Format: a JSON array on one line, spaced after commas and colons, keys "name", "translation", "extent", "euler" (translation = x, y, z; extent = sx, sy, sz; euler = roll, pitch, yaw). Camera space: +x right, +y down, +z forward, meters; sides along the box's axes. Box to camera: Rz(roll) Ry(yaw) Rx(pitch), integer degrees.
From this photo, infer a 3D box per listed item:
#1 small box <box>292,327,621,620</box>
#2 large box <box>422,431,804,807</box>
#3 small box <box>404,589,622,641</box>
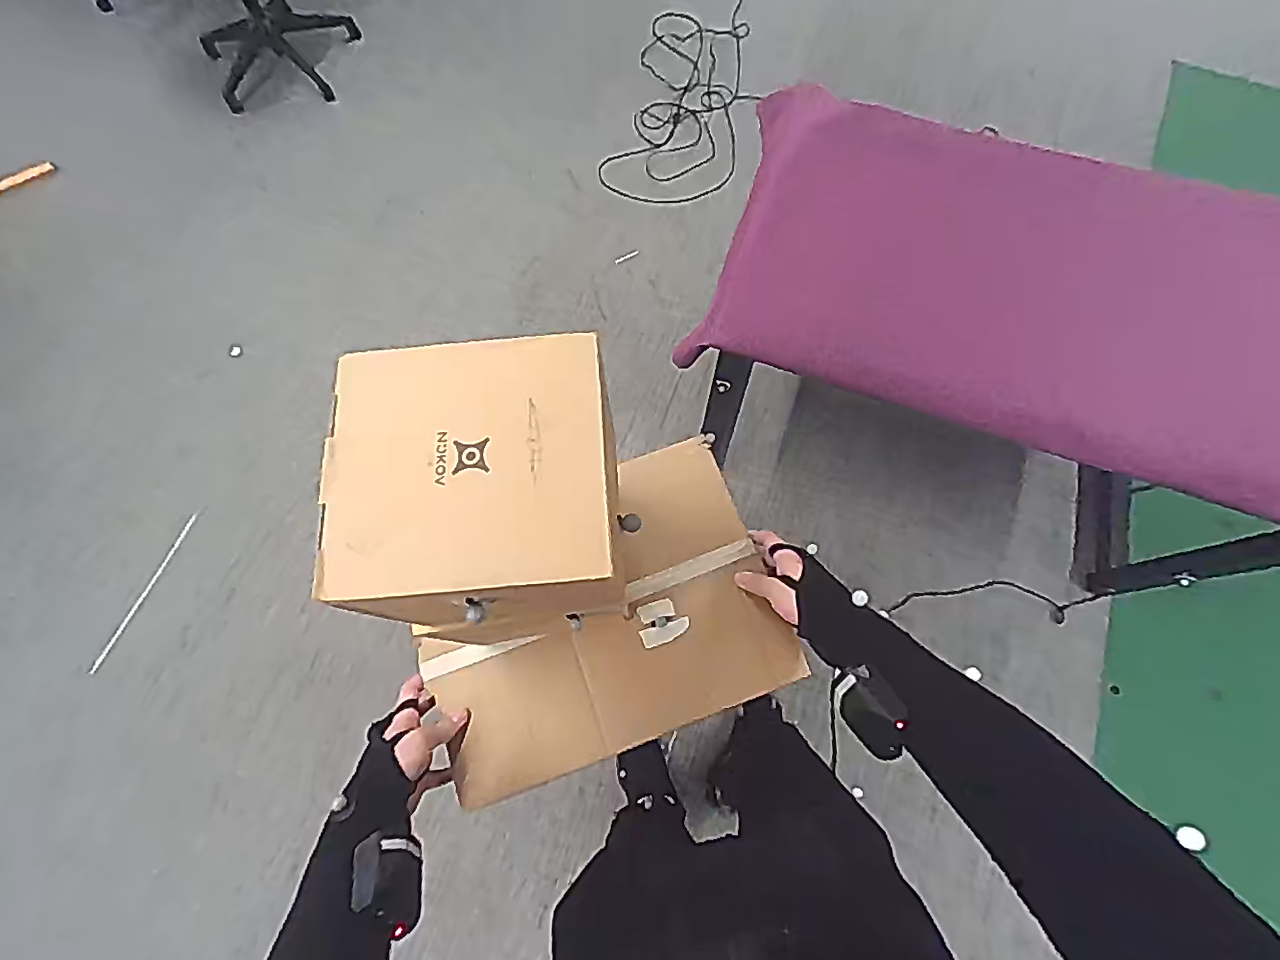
[{"name": "small box", "translation": [-0.111, 0.010, 0.402], "extent": [0.179, 0.176, 0.168], "euler": [-5, 71, 1]}, {"name": "large box", "translation": [-0.049, 0.188, 0.768], "extent": [0.408, 0.320, 0.320], "euler": [-21, 73, -5]}, {"name": "small box", "translation": [-0.121, 0.066, 0.556], "extent": [0.179, 0.176, 0.168], "euler": [-10, 70, -1]}]
